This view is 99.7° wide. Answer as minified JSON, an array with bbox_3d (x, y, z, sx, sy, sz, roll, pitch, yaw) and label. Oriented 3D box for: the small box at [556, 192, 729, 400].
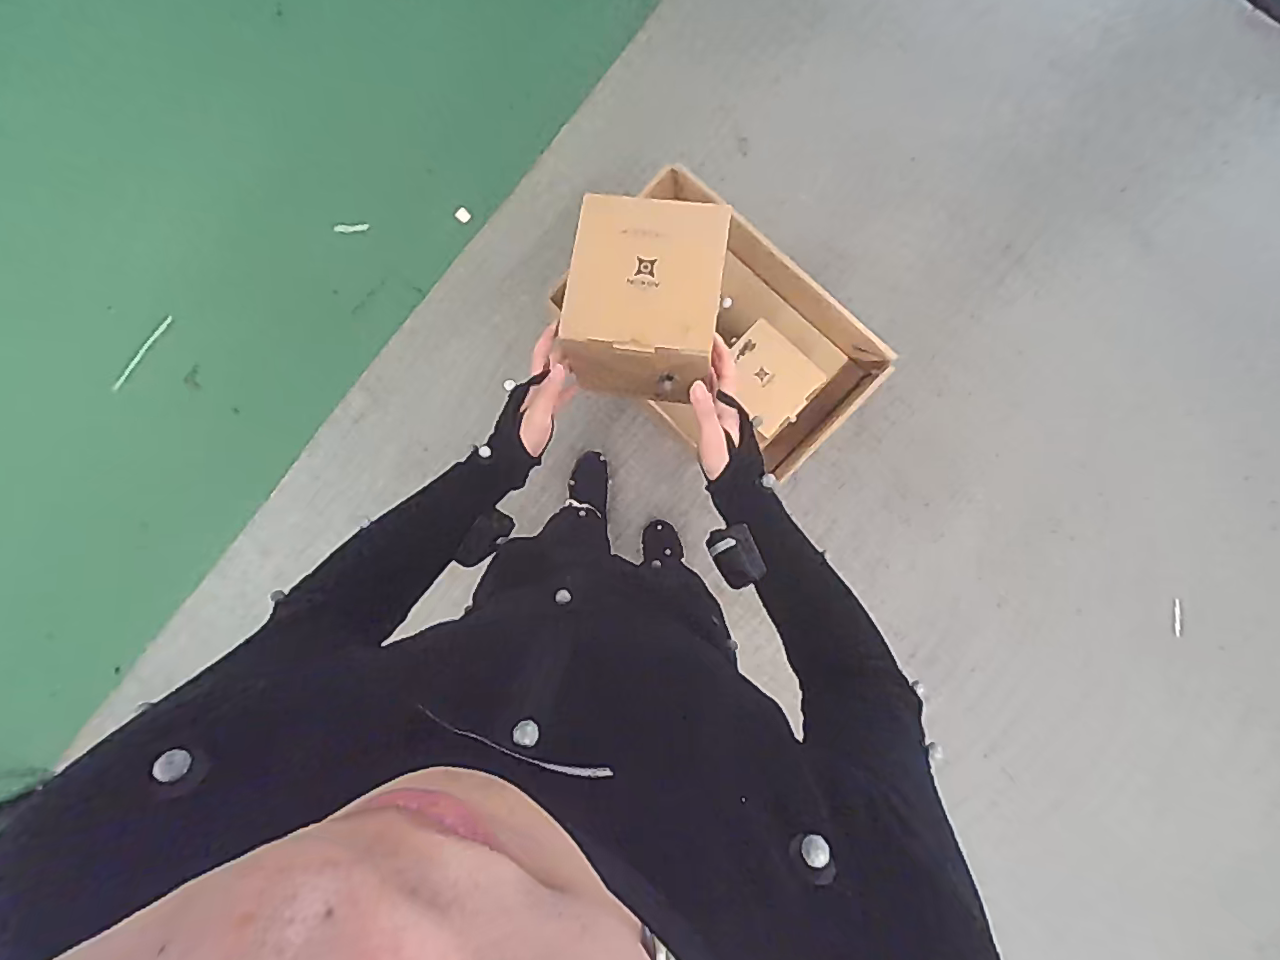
[{"bbox_3d":[0.009,-0.208,0.652,0.168,0.176,0.179,8,80,4],"label":"small box"}]
